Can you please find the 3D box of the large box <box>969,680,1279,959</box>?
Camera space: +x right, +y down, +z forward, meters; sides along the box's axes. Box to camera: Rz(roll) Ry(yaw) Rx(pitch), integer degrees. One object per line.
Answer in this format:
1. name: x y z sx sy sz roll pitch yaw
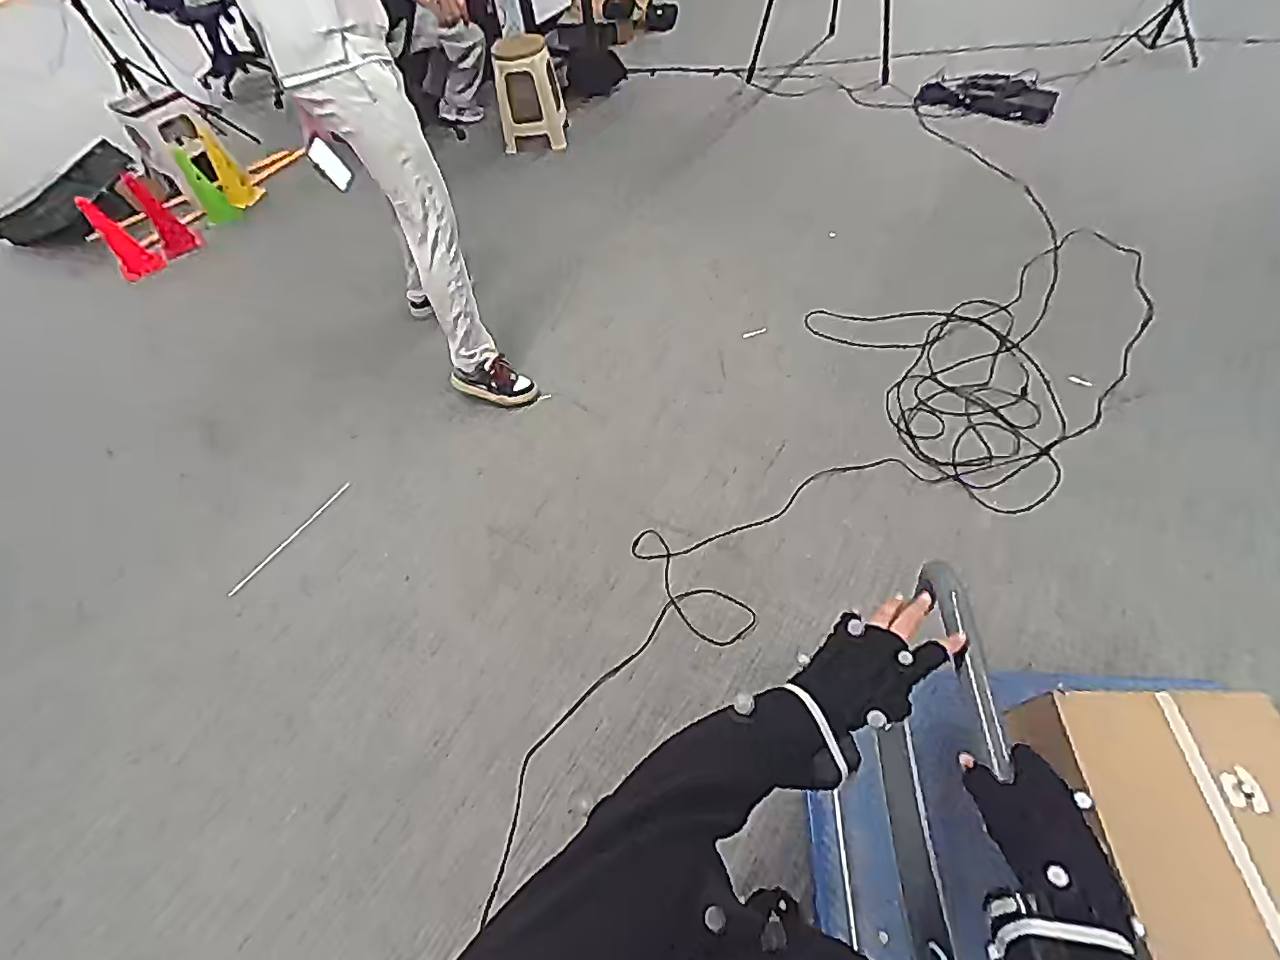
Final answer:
1. large box: 0.816 0.575 0.888 0.320 0.320 0.408 -2 55 5
